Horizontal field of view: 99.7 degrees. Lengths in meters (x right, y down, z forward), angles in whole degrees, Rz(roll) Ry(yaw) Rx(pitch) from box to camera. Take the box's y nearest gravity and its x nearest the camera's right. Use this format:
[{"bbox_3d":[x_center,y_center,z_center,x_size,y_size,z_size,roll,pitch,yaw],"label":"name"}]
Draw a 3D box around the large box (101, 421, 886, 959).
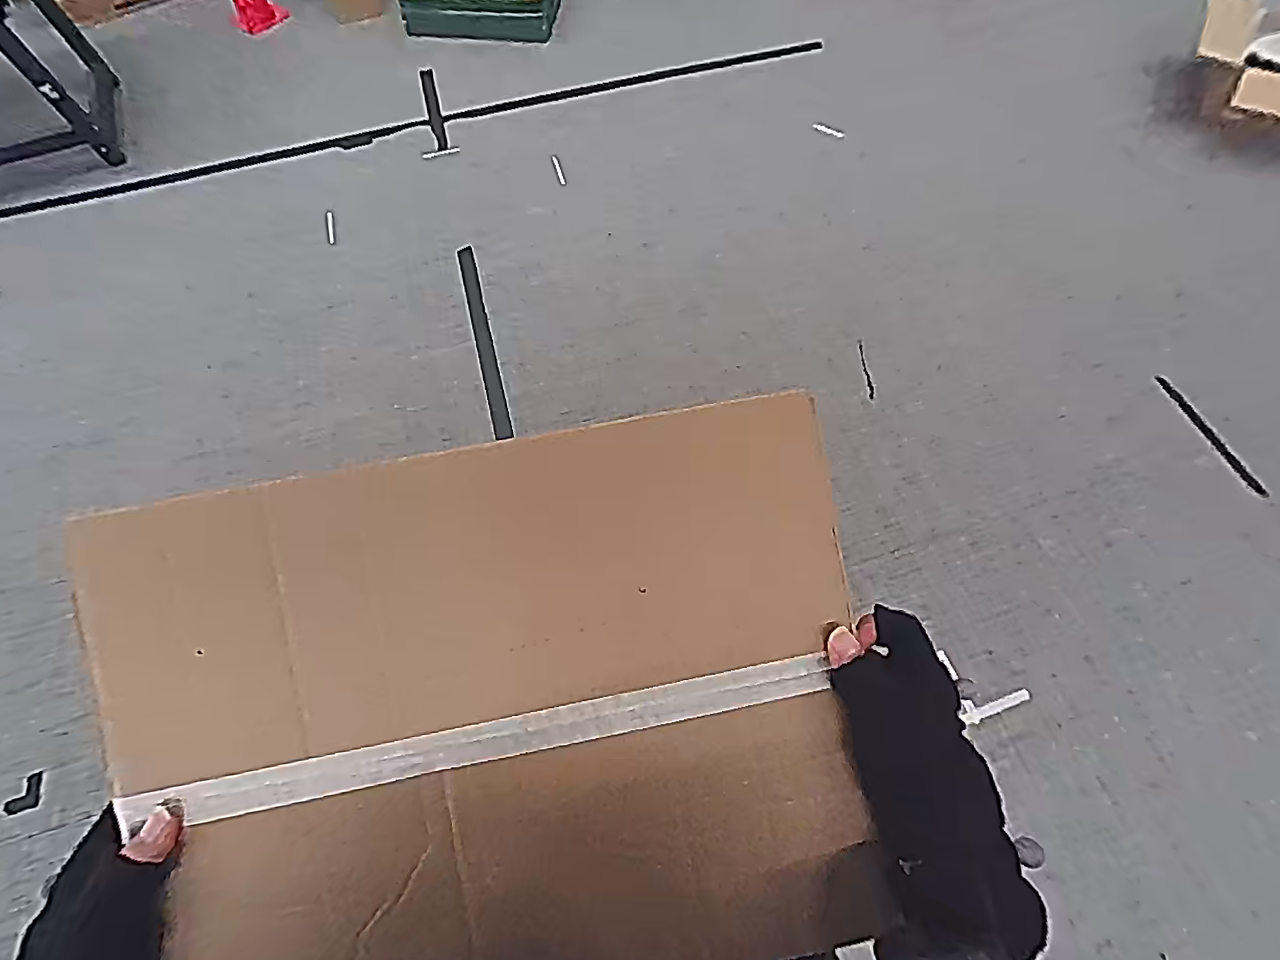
[{"bbox_3d":[-0.081,0.151,0.457,0.408,0.320,0.320,-10,90,-3],"label":"large box"}]
